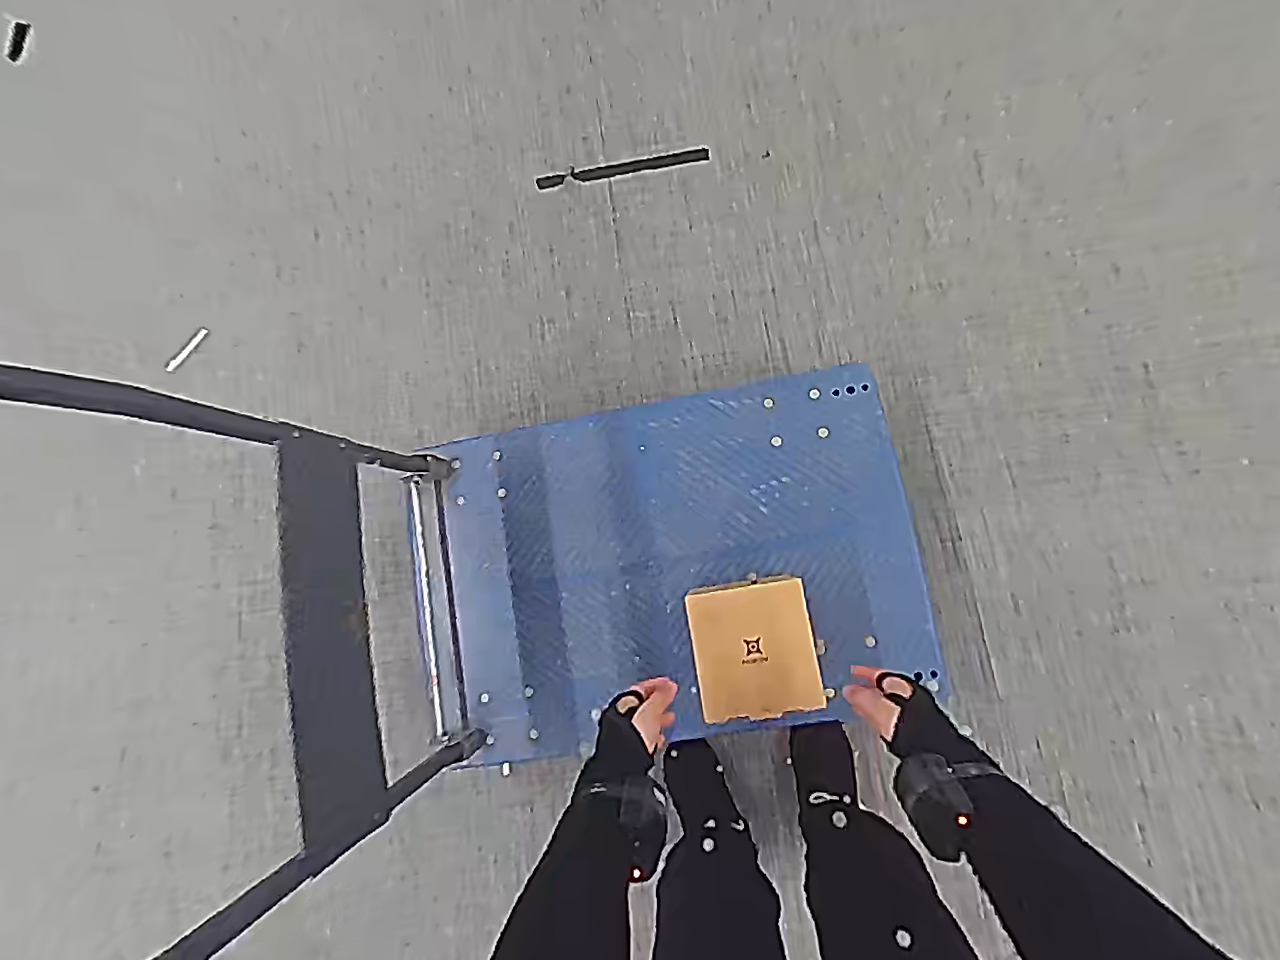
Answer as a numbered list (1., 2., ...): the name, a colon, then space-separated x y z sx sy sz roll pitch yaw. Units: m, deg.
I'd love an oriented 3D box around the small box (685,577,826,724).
1. small box: 0.163 0.244 0.815 0.168 0.176 0.179 -11 81 6
